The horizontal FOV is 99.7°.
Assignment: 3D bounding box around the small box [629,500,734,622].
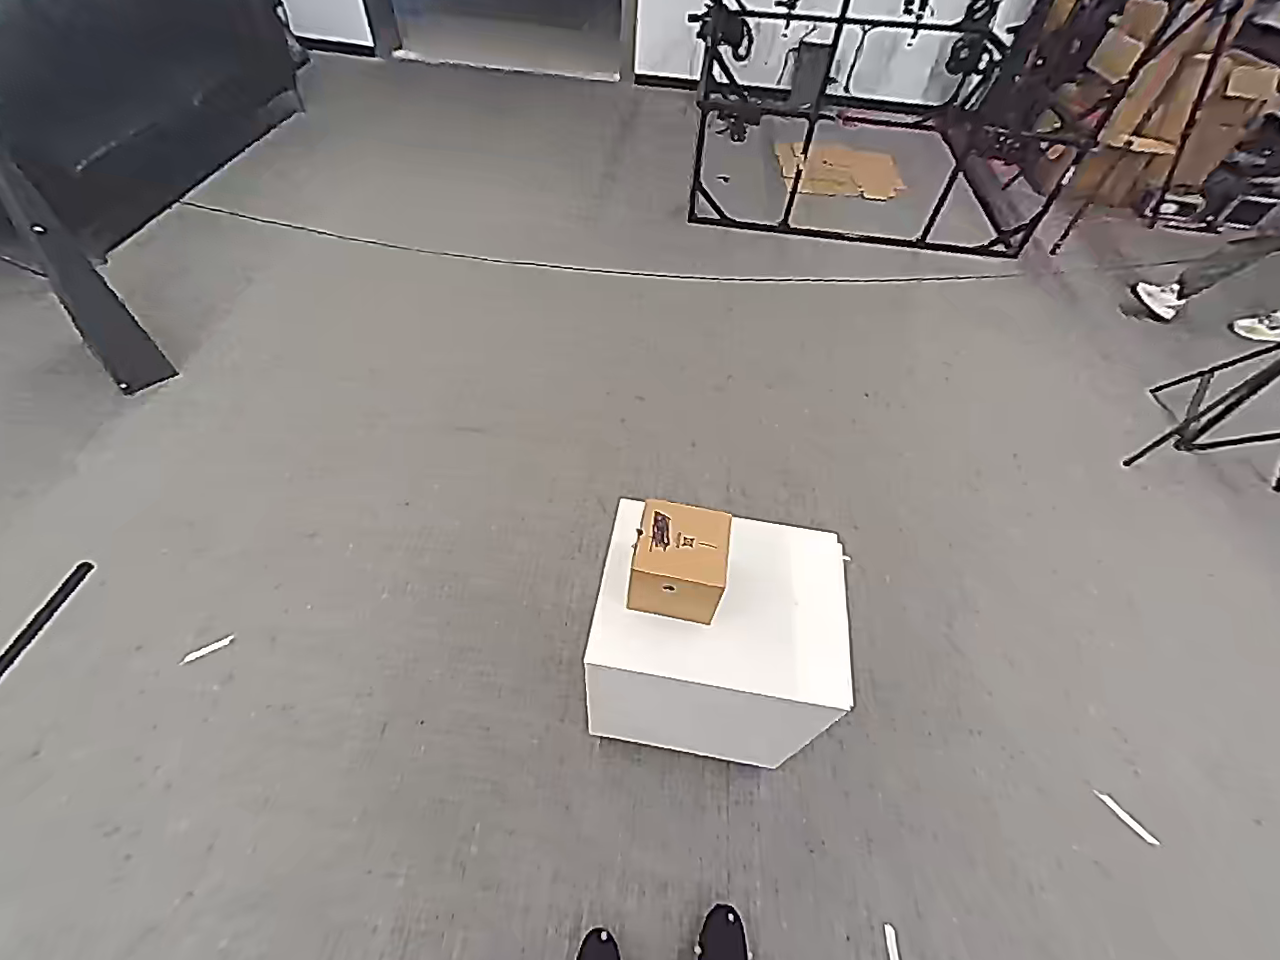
[{"bbox_3d":[0.079,0.166,1.082,0.179,0.176,0.168,11,52,3],"label":"small box"}]
